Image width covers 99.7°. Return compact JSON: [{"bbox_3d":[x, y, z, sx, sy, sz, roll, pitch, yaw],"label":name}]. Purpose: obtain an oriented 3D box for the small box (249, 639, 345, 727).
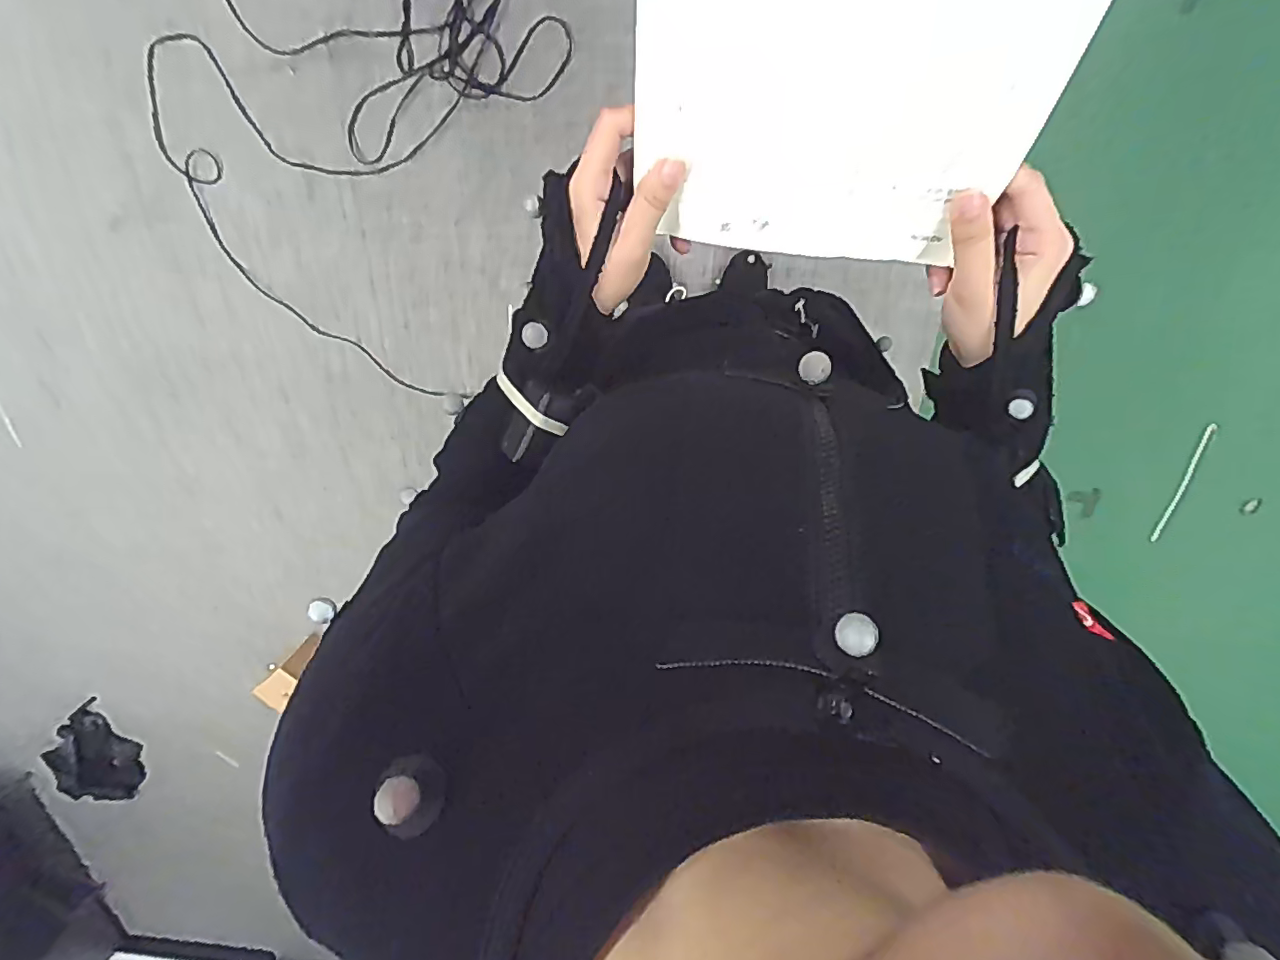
[{"bbox_3d":[-1.111,0.659,1.765,0.179,0.176,0.168,-38,107,19],"label":"small box"}]
